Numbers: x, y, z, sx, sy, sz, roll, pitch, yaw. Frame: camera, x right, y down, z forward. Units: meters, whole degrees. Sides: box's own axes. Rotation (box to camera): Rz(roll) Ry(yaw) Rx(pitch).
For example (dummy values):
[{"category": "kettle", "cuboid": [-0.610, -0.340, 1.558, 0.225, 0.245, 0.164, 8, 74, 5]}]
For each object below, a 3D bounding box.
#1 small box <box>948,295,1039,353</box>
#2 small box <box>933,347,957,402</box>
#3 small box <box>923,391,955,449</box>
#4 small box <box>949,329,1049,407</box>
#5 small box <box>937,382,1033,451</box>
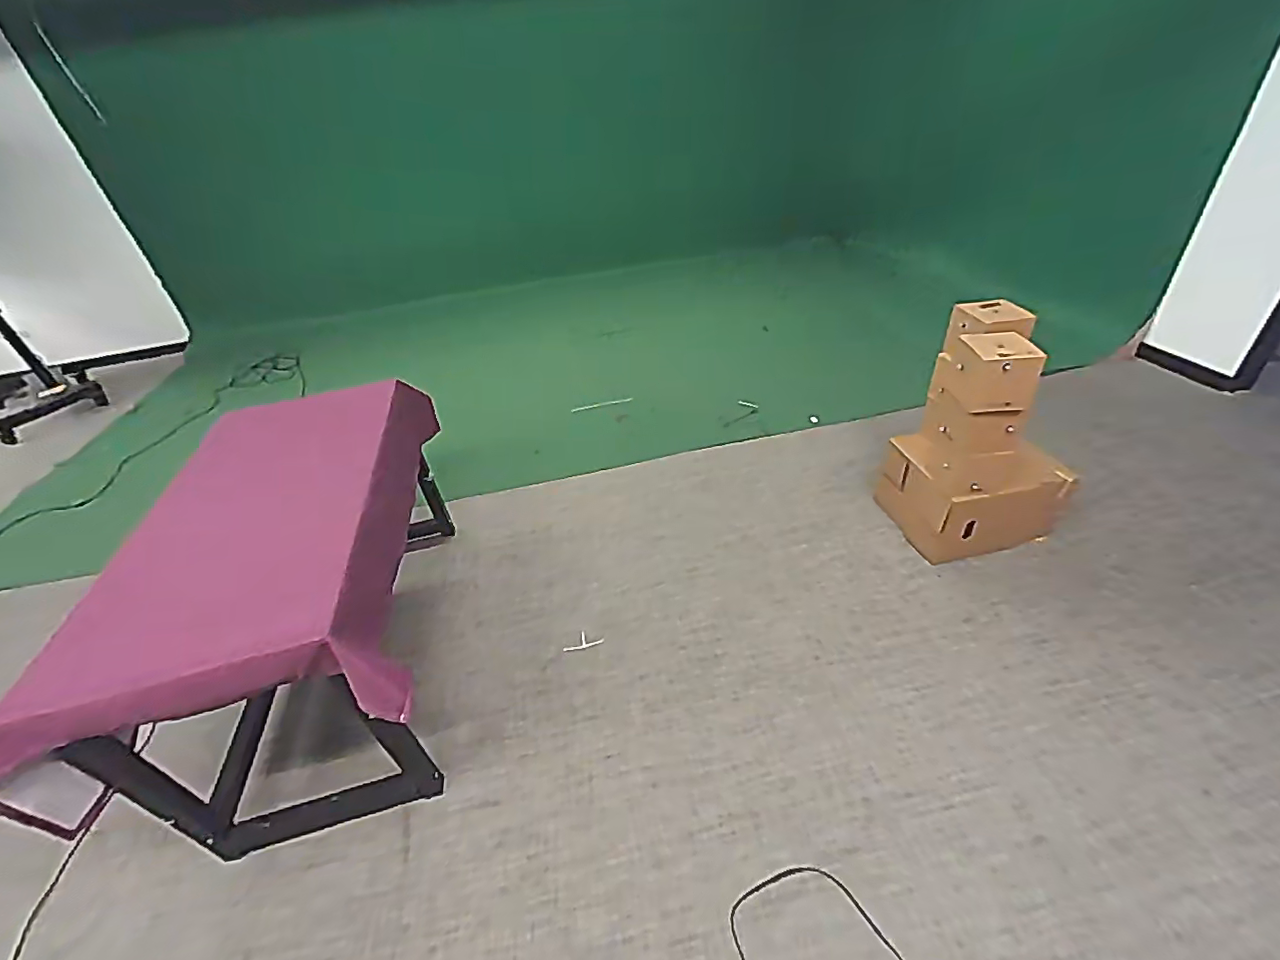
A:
[{"category": "small box", "cuboid": [1.148, -0.490, 1.774, 0.168, 0.176, 0.179, -7, 37, -1]}, {"category": "small box", "cuboid": [1.154, -0.357, 1.873, 0.179, 0.176, 0.168, -11, 37, -4]}, {"category": "small box", "cuboid": [1.169, -0.226, 1.968, 0.168, 0.176, 0.179, -10, 37, -7]}, {"category": "small box", "cuboid": [1.033, -0.327, 1.576, 0.168, 0.176, 0.179, -3, 37, 6]}, {"category": "small box", "cuboid": [1.064, -0.207, 1.686, 0.179, 0.176, 0.168, -6, 37, 2]}]
